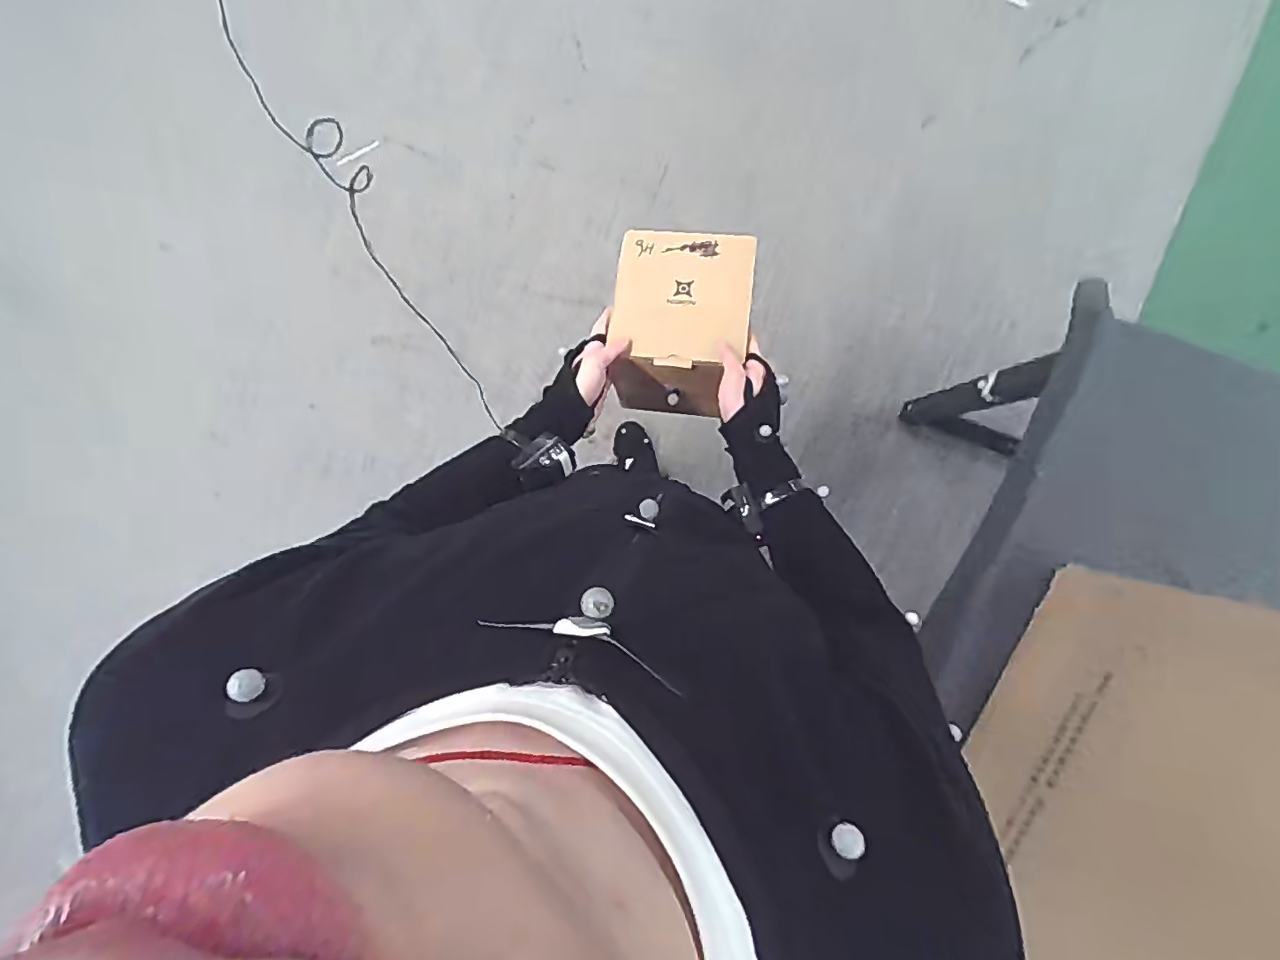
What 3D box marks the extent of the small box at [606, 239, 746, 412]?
[{"bbox_3d":[0.055,-0.201,0.741,0.168,0.176,0.179,3,77,7],"label":"small box"}]
